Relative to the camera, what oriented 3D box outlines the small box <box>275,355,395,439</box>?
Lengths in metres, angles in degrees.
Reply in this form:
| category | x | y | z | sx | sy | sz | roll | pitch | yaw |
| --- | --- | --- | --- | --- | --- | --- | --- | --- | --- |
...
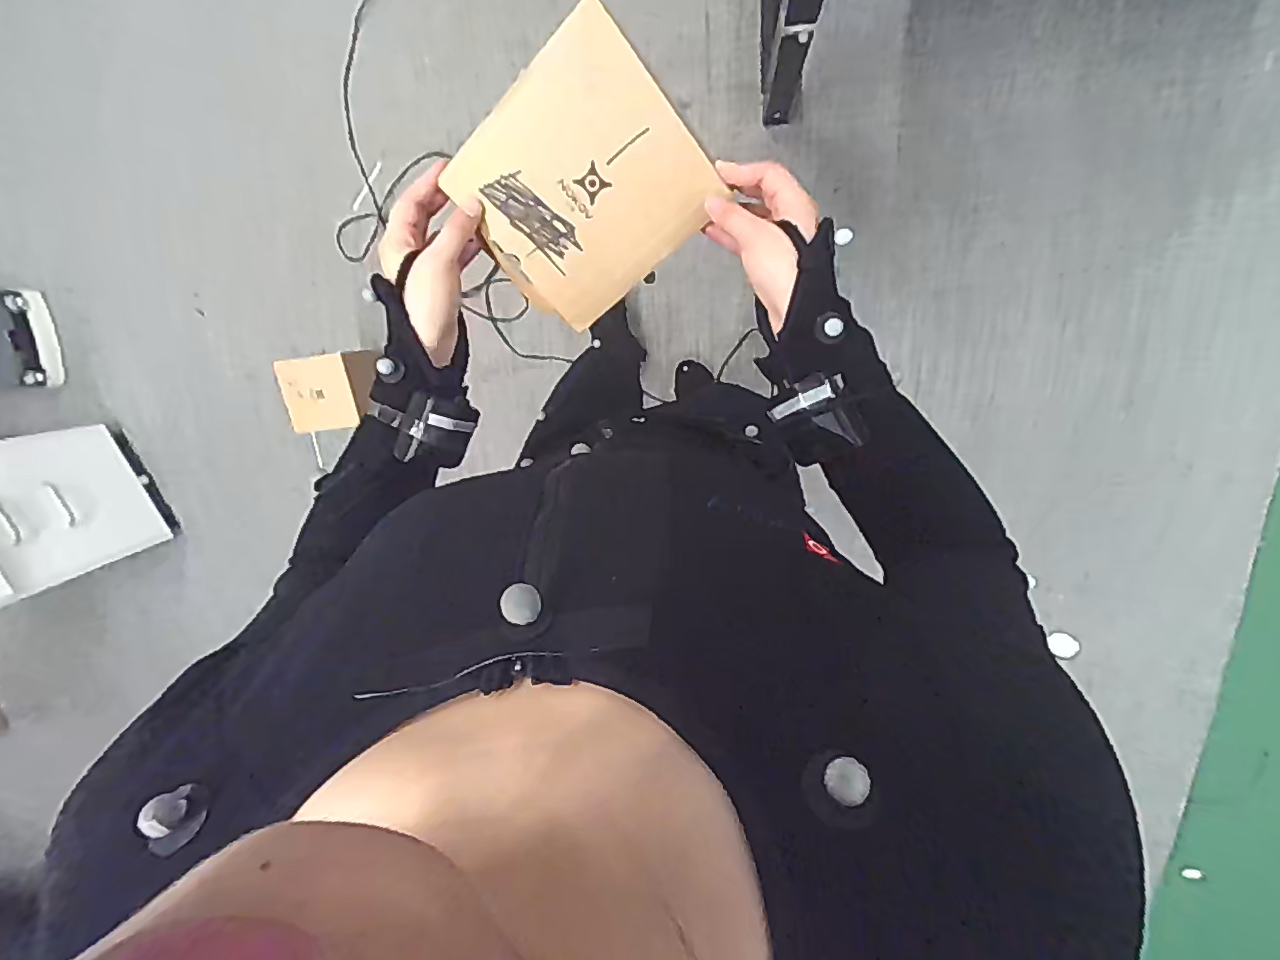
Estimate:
| category | x | y | z | sx | sy | sz | roll | pitch | yaw |
| --- | --- | --- | --- | --- | --- | --- | --- | --- | --- |
| small box | -0.716 | -0.203 | 1.297 | 0.179 | 0.176 | 0.168 | -5 | 106 | 10 |

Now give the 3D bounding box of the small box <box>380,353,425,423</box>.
| category | x | y | z | sx | sy | sz | roll | pitch | yaw |
| --- | --- | --- | --- | --- | --- | --- | --- | --- | --- |
| small box | -0.701 | -0.246 | 1.456 | 0.179 | 0.176 | 0.168 | -4 | 106 | 10 |

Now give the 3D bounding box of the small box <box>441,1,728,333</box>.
| category | x | y | z | sx | sy | sz | roll | pitch | yaw |
| --- | --- | --- | --- | --- | --- | --- | --- | --- | --- |
| small box | -0.039 | -0.273 | 0.495 | 0.179 | 0.176 | 0.168 | -34 | 117 | 24 |
